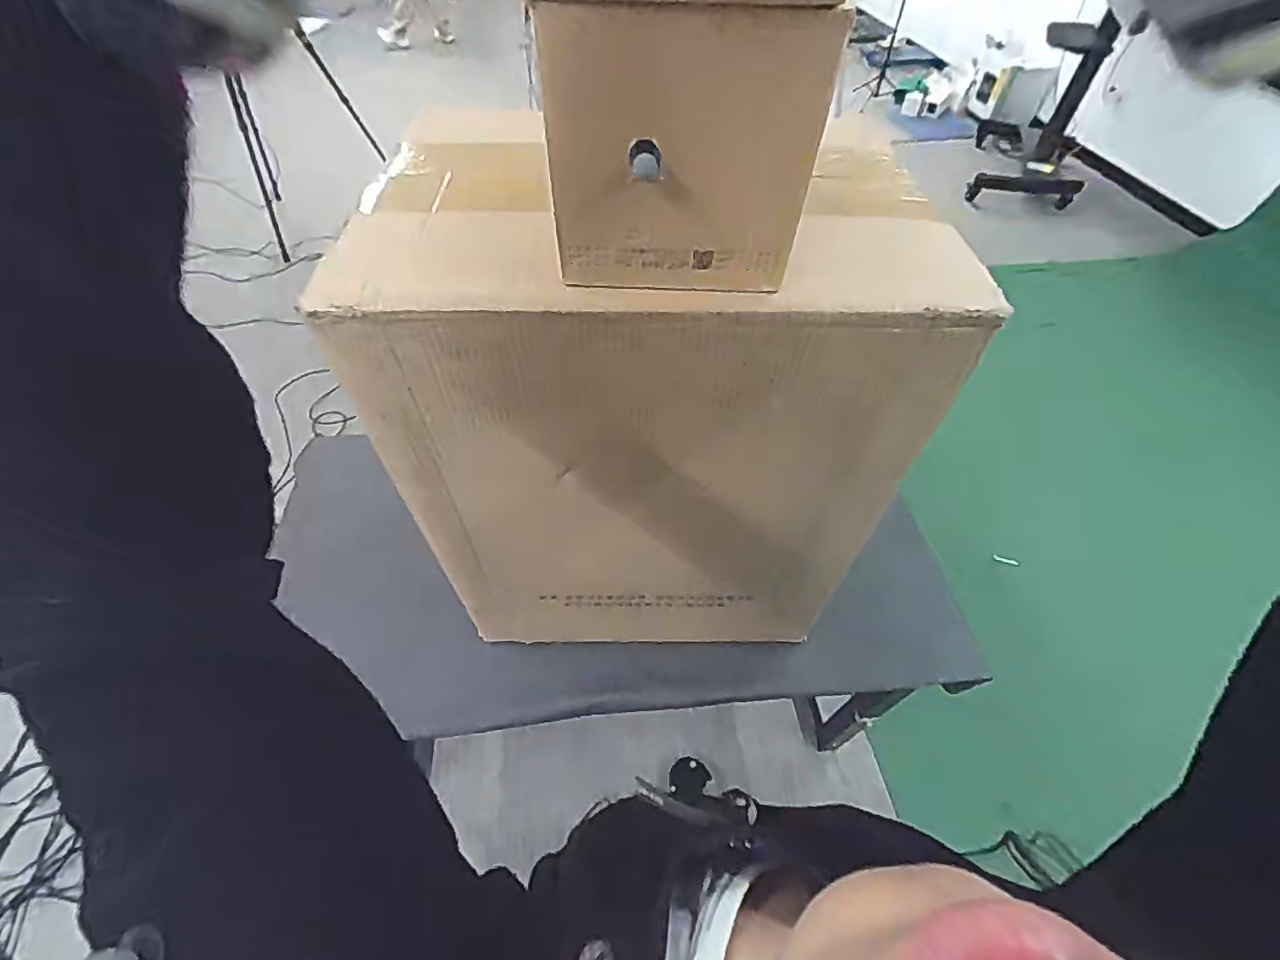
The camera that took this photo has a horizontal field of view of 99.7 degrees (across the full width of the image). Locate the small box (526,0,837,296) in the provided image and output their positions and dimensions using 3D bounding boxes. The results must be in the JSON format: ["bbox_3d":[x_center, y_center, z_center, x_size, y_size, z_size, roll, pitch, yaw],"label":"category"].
[{"bbox_3d":[0.025,-0.252,0.392,0.168,0.176,0.179,2,53,1],"label":"small box"}]
